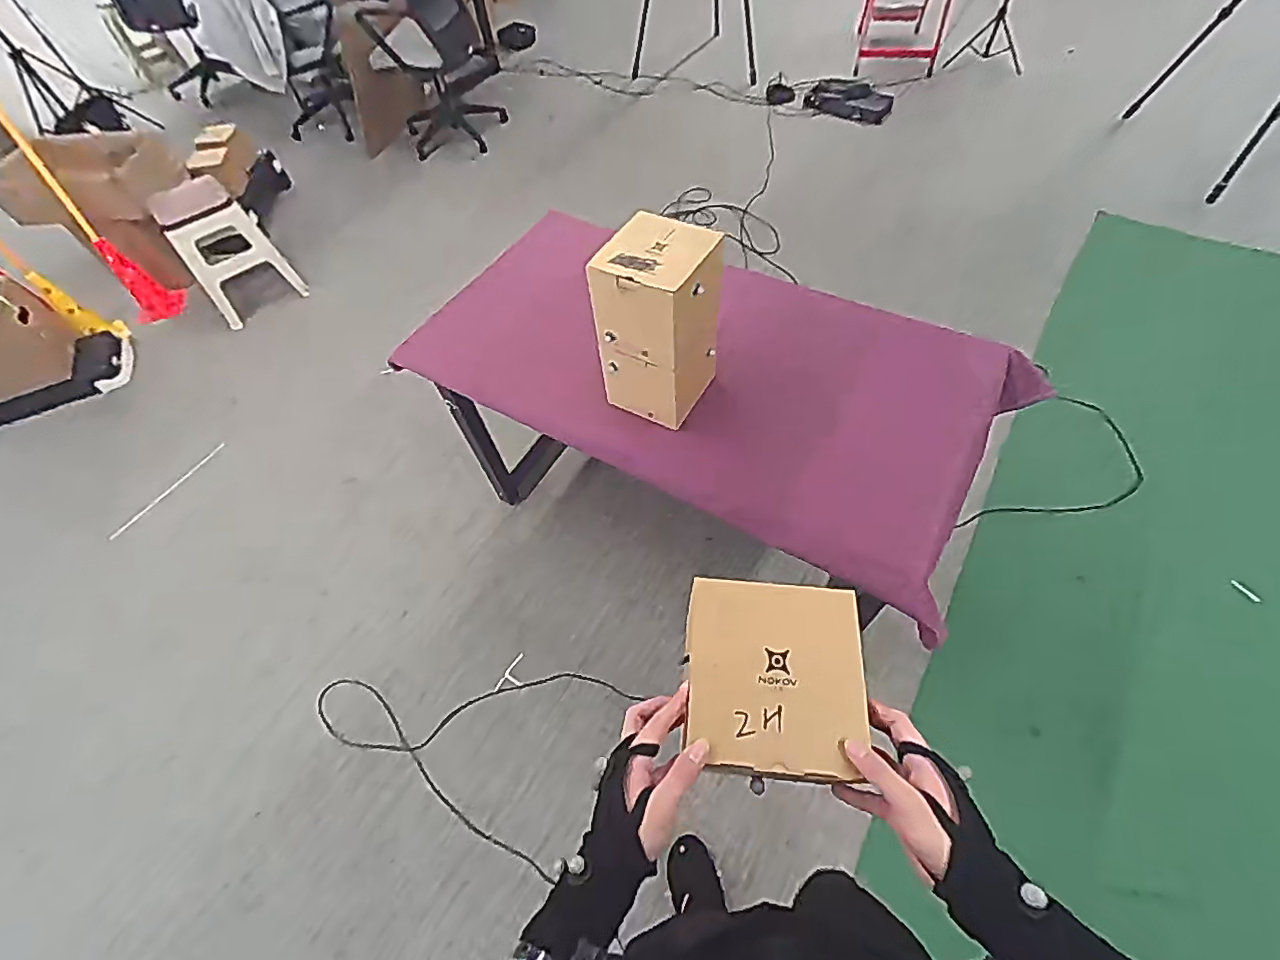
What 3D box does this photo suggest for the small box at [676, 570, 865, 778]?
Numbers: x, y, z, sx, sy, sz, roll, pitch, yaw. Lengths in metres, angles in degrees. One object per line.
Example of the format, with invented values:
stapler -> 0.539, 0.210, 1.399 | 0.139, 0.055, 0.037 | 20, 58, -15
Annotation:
small box -> 0.129, 0.216, 0.589 | 0.168, 0.176, 0.179 | 5, 61, 5

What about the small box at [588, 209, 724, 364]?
small box -> 0.034, -0.333, 0.942 | 0.168, 0.176, 0.179 | 26, 62, 19
